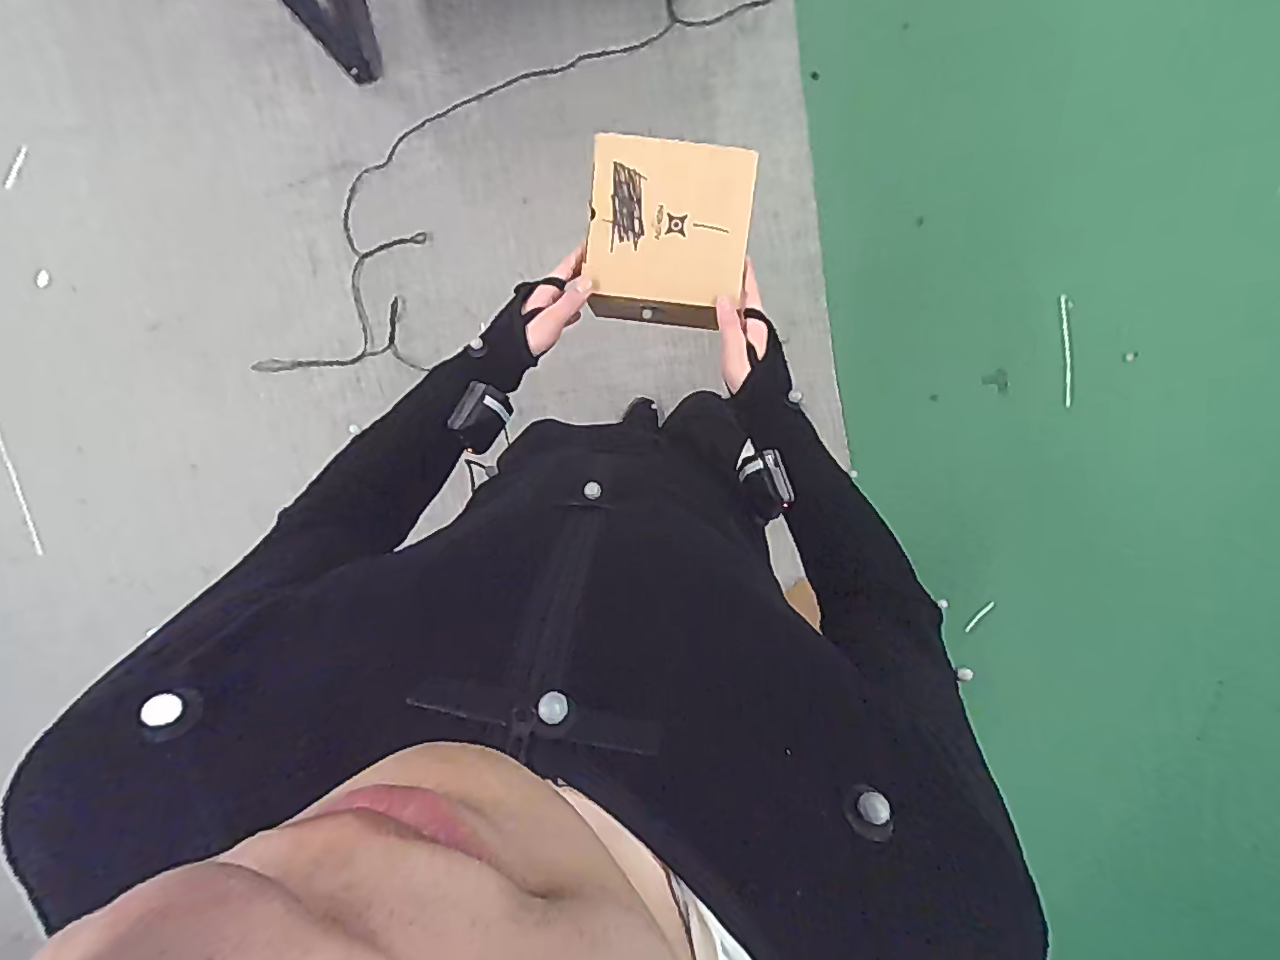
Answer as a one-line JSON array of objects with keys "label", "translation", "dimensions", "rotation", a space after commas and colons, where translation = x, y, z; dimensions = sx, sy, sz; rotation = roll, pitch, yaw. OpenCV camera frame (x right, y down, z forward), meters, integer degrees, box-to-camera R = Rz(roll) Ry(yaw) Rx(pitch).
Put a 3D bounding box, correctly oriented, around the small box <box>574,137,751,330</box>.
[{"label": "small box", "translation": [0.023, -0.281, 0.653], "dimensions": [0.179, 0.176, 0.168], "rotation": [5, 98, -1]}]
